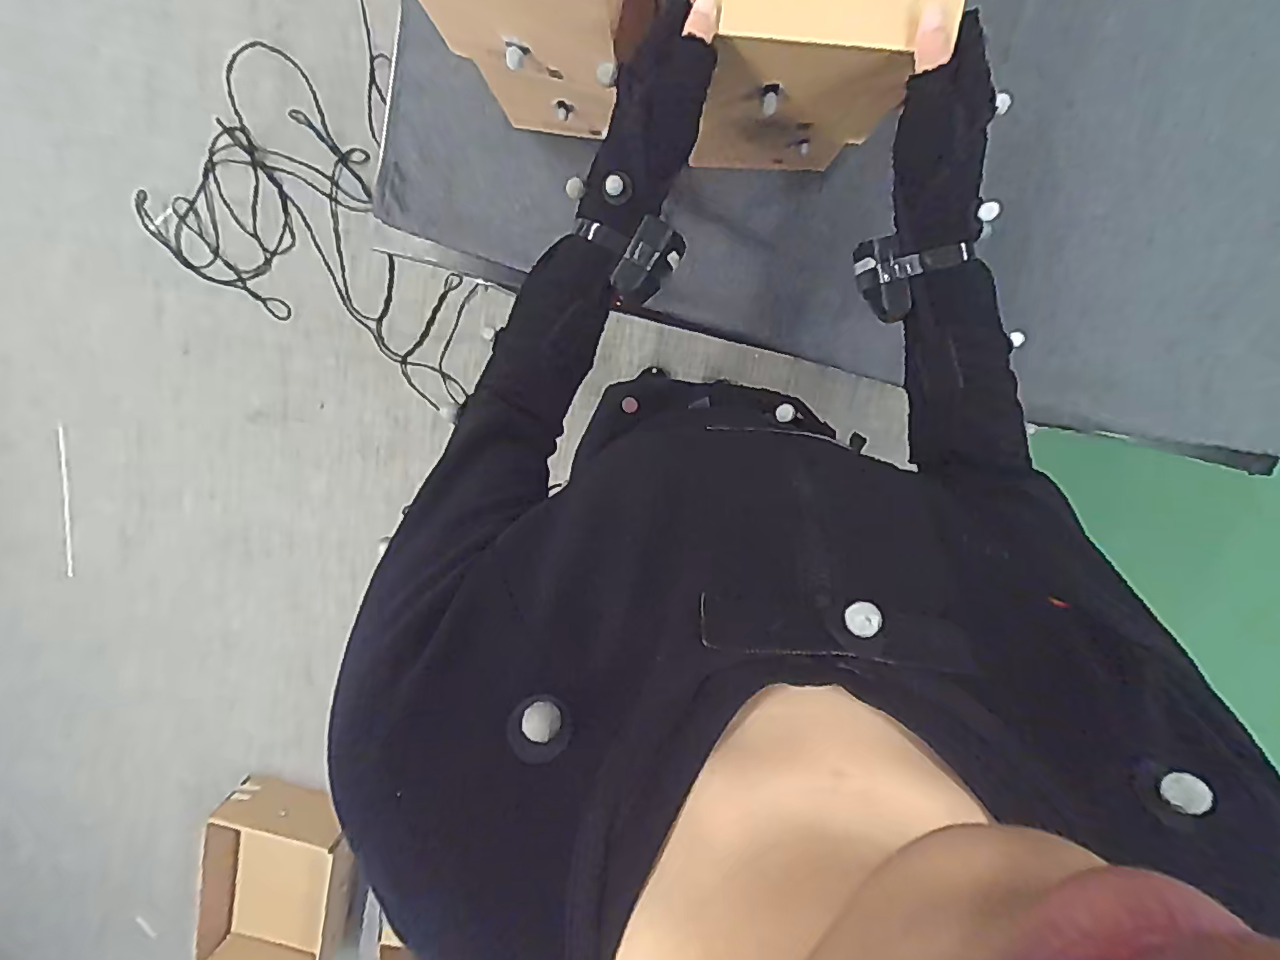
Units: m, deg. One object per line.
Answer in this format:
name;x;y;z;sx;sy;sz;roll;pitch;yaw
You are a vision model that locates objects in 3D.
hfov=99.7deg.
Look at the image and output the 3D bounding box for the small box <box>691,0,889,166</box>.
small box;0.143;-0.447;0.559;0.168;0.176;0.179;3;101;1
